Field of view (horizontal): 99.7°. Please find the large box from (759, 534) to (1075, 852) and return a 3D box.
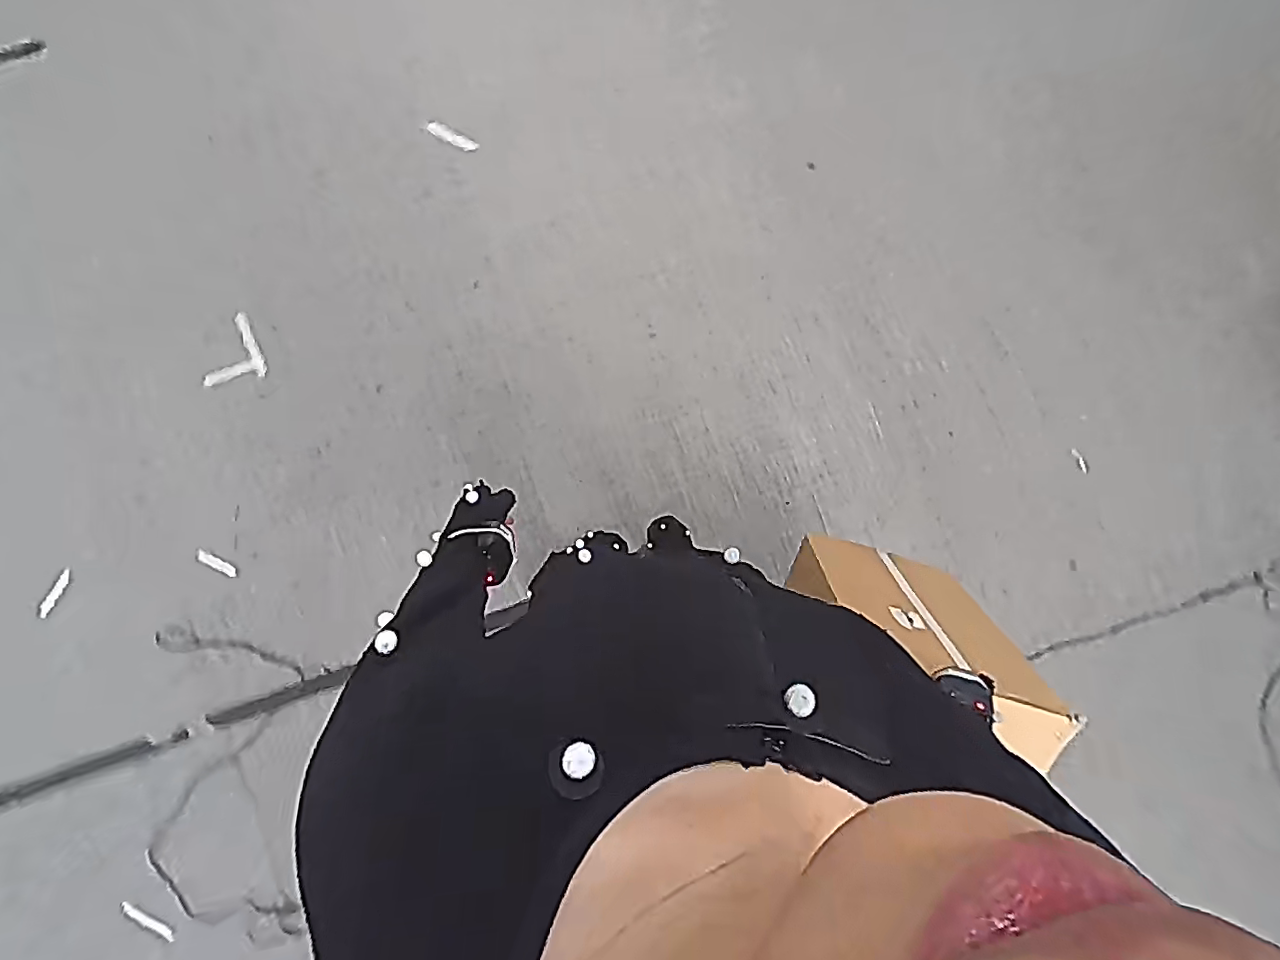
[{"bbox_3d":[0.436,0.353,0.984,0.320,0.408,0.320,14,111,-1],"label":"large box"}]
